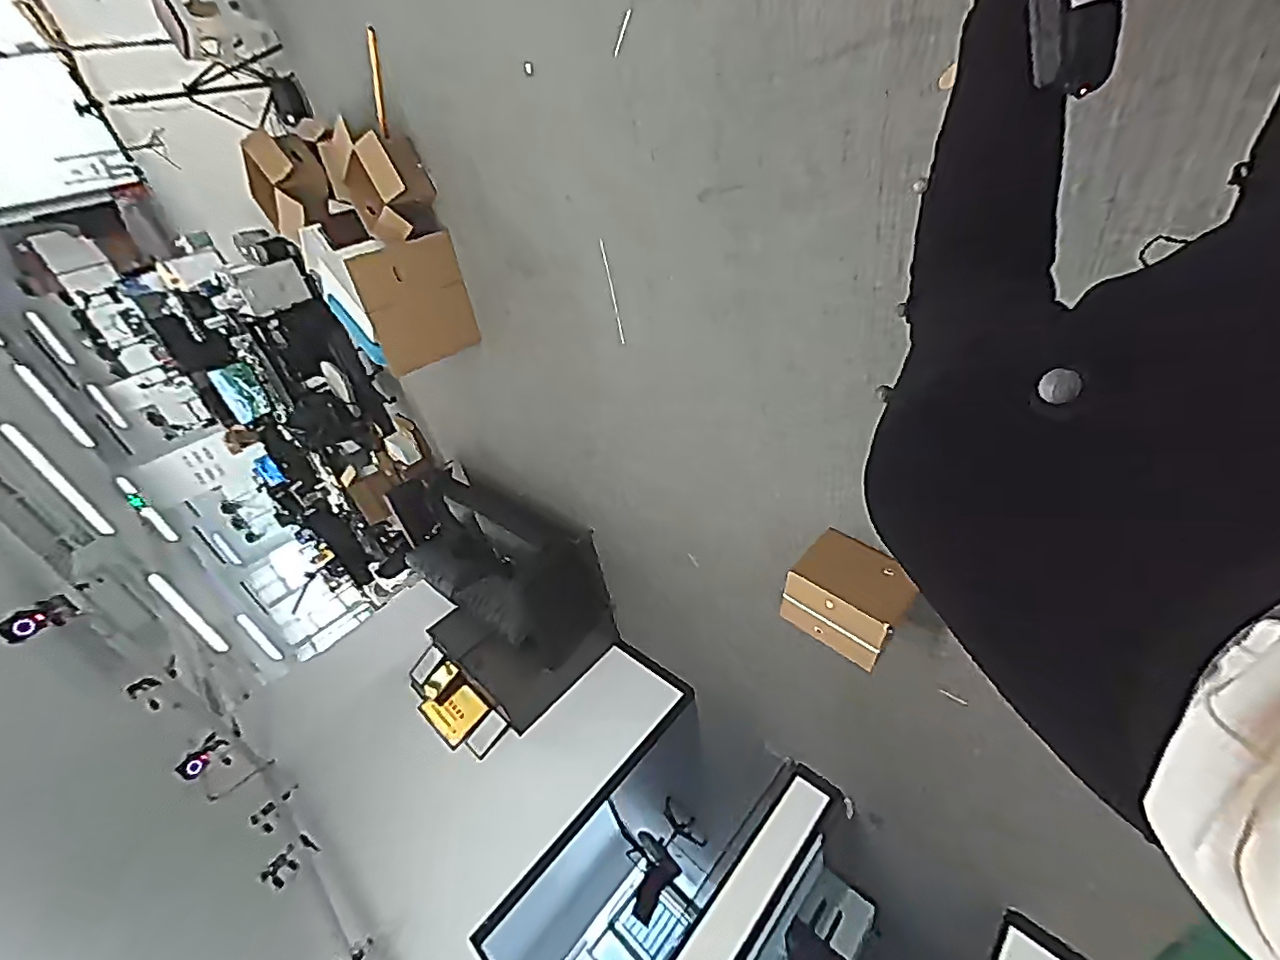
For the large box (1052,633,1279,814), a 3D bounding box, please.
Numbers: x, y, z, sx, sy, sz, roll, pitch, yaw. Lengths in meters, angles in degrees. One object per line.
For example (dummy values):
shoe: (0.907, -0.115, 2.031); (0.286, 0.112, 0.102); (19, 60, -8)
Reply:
large box: (1.498, 0.656, 1.535); (0.320, 0.320, 0.408); (56, 147, -7)
